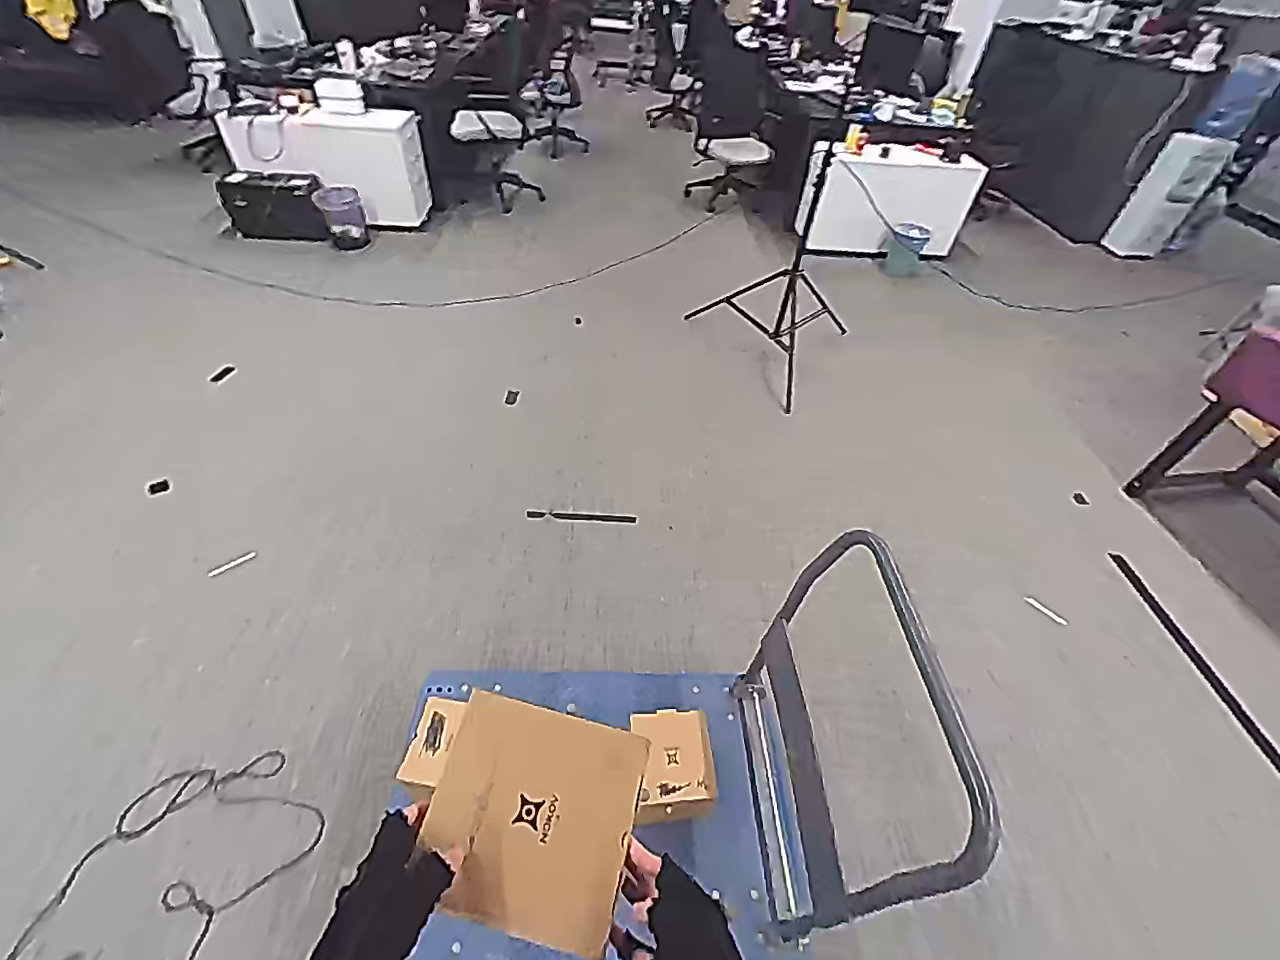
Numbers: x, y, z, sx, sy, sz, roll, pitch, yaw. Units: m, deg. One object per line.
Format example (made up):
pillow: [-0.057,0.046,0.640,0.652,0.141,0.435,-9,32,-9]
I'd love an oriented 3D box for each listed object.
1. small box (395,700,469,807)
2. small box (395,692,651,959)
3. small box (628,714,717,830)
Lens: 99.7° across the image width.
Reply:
small box: [-0.386,0.597,1.154,0.179,0.176,0.168,10,45,2]
small box: [-0.099,0.327,0.533,0.179,0.176,0.168,14,59,3]
small box: [0.058,0.631,1.171,0.168,0.176,0.179,-1,45,-7]
